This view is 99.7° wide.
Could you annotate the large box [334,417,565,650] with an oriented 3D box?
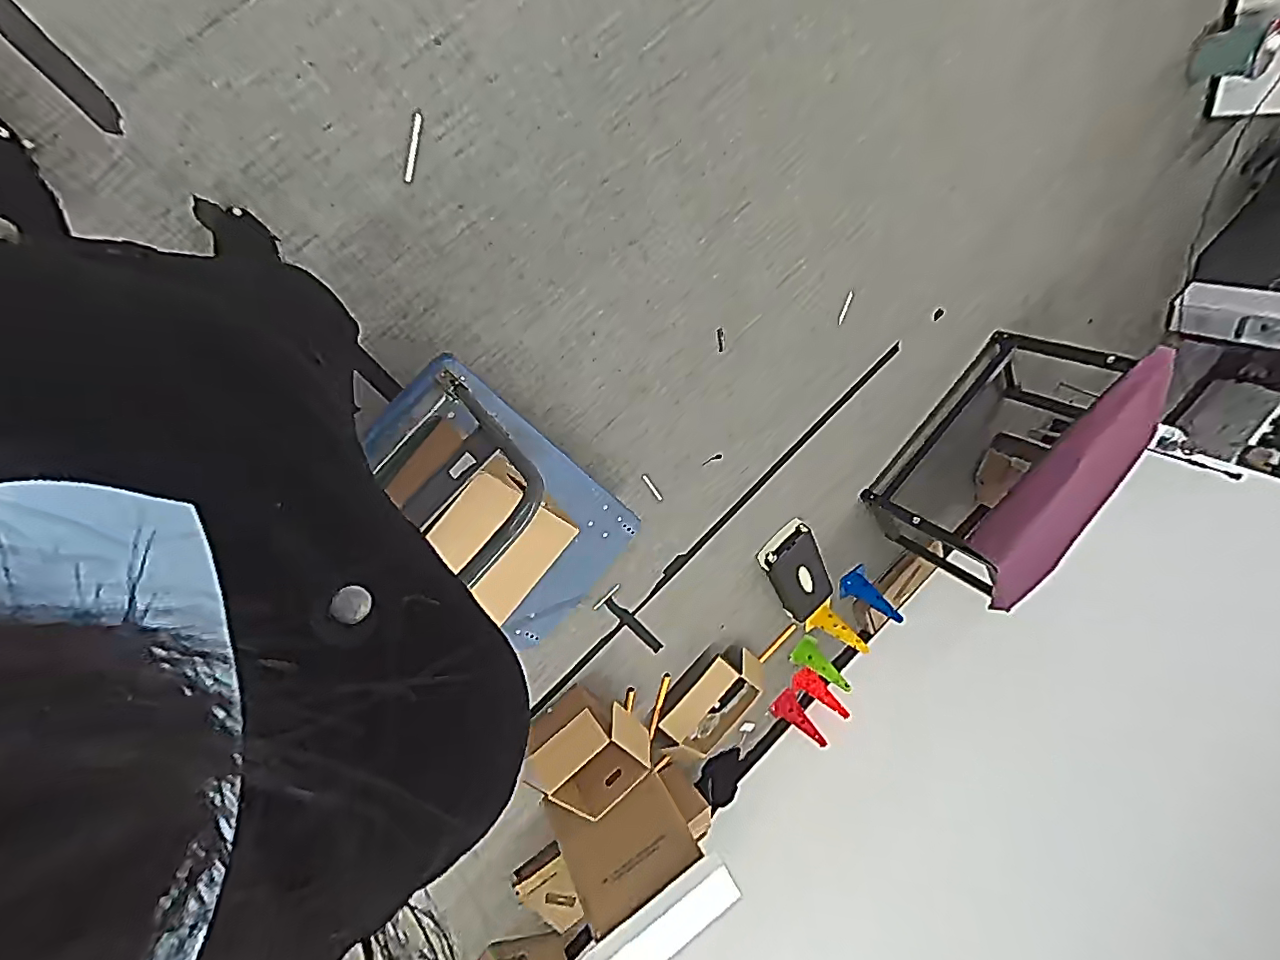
[{"bbox_3d":[-0.463,0.125,1.311,0.408,0.320,0.320,-50,132,0],"label":"large box"}]
